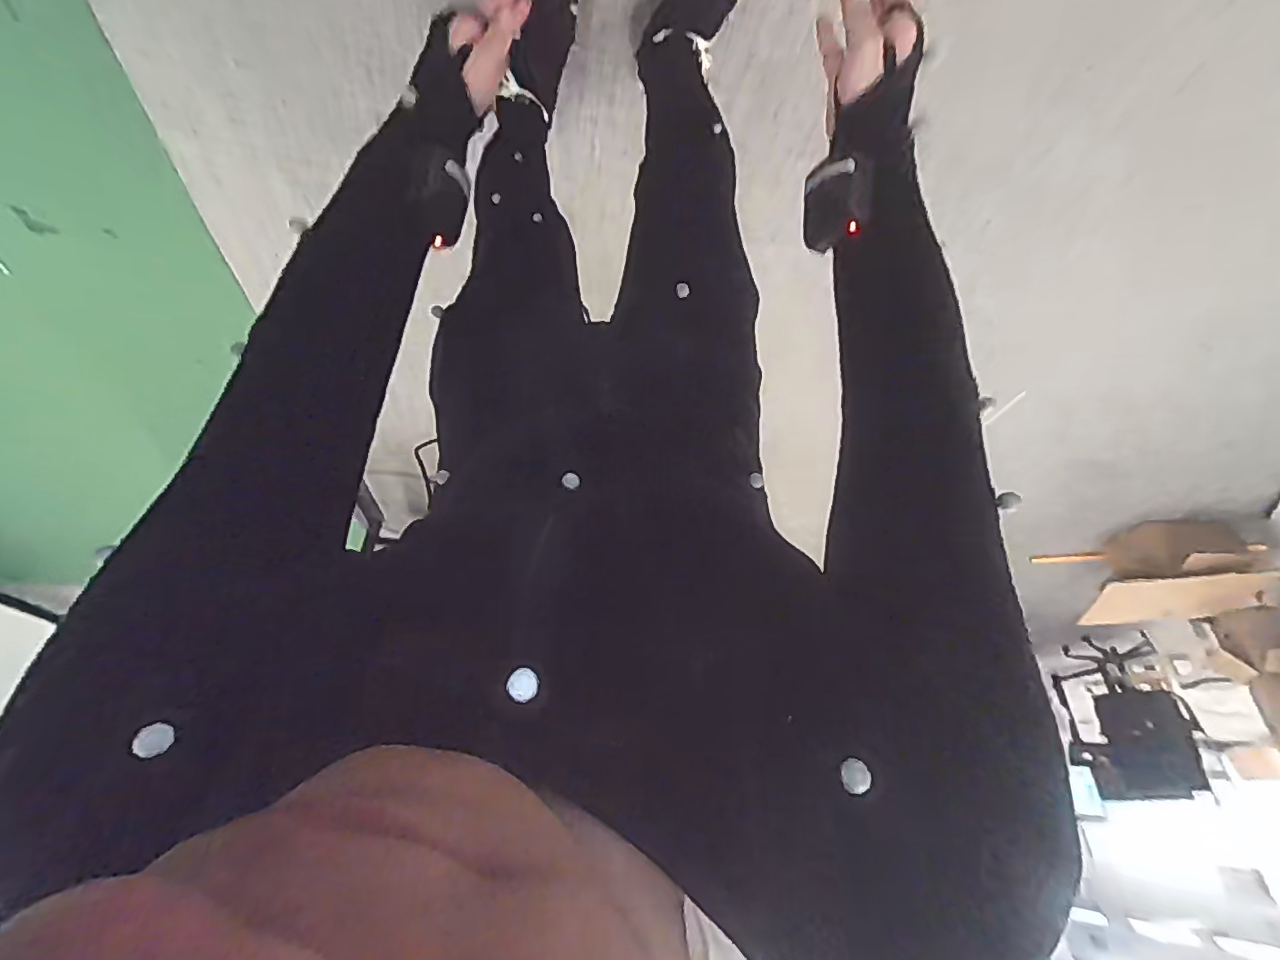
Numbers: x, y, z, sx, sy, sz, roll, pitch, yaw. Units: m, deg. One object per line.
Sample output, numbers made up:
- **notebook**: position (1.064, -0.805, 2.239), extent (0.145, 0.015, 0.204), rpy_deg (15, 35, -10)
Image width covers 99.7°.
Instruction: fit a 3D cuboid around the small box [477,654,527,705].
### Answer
- **small box**: position (-0.571, 0.837, 2.260), extent (0.168, 0.176, 0.179), rpy_deg (4, 149, -4)
